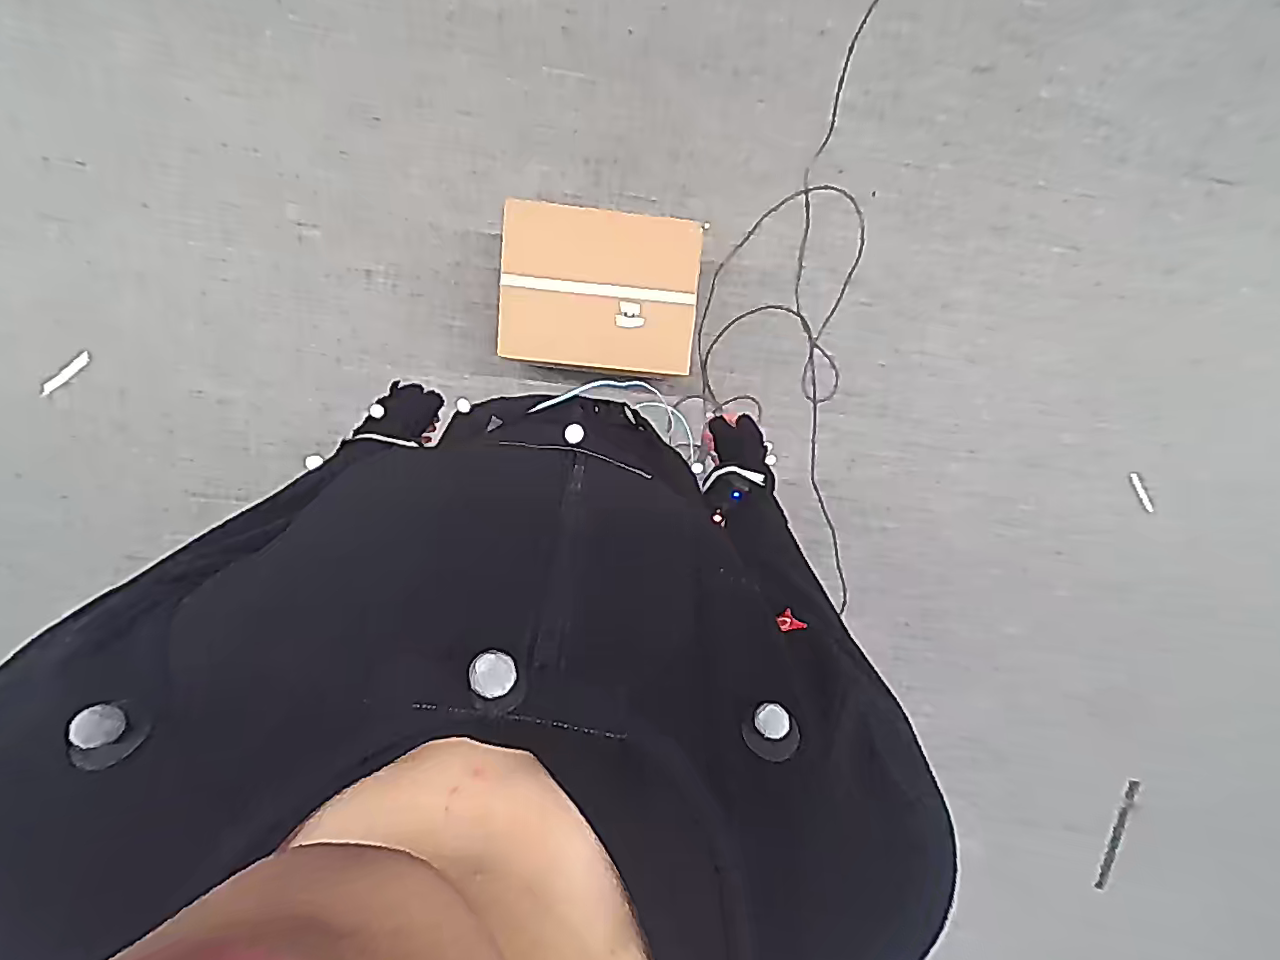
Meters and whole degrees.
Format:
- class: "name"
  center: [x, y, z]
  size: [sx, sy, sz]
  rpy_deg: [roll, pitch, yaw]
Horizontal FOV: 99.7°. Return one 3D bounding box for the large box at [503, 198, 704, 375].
- class: "large box"
  center: [-0.089, -0.424, 1.265]
  size: [0.408, 0.320, 0.320]
  rpy_deg: [5, 99, -5]
